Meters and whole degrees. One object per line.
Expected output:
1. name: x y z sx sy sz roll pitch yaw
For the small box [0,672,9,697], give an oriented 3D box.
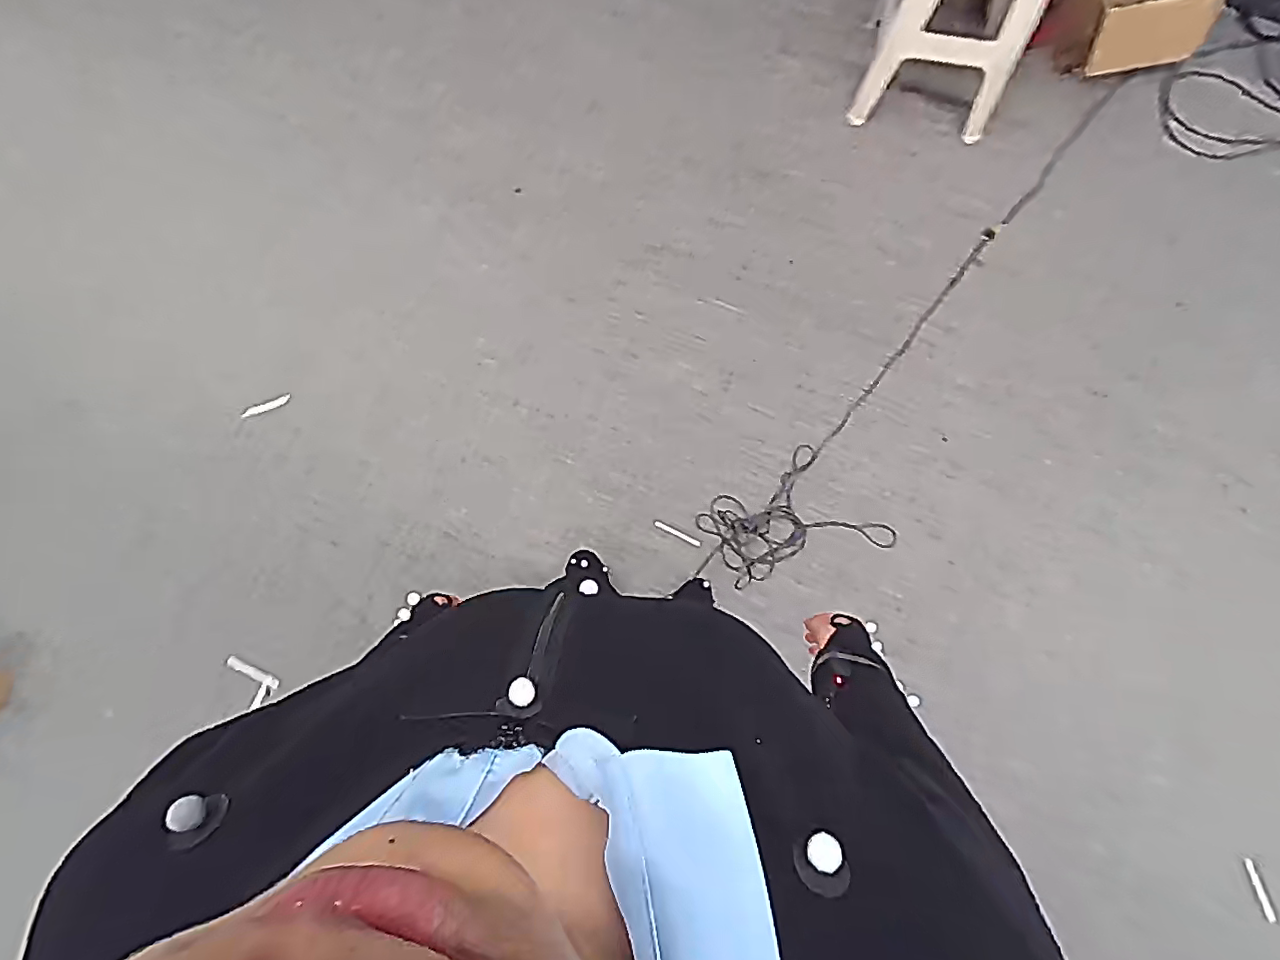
1. small box: -1.962 0.612 1.514 0.179 0.176 0.168 23 84 8
